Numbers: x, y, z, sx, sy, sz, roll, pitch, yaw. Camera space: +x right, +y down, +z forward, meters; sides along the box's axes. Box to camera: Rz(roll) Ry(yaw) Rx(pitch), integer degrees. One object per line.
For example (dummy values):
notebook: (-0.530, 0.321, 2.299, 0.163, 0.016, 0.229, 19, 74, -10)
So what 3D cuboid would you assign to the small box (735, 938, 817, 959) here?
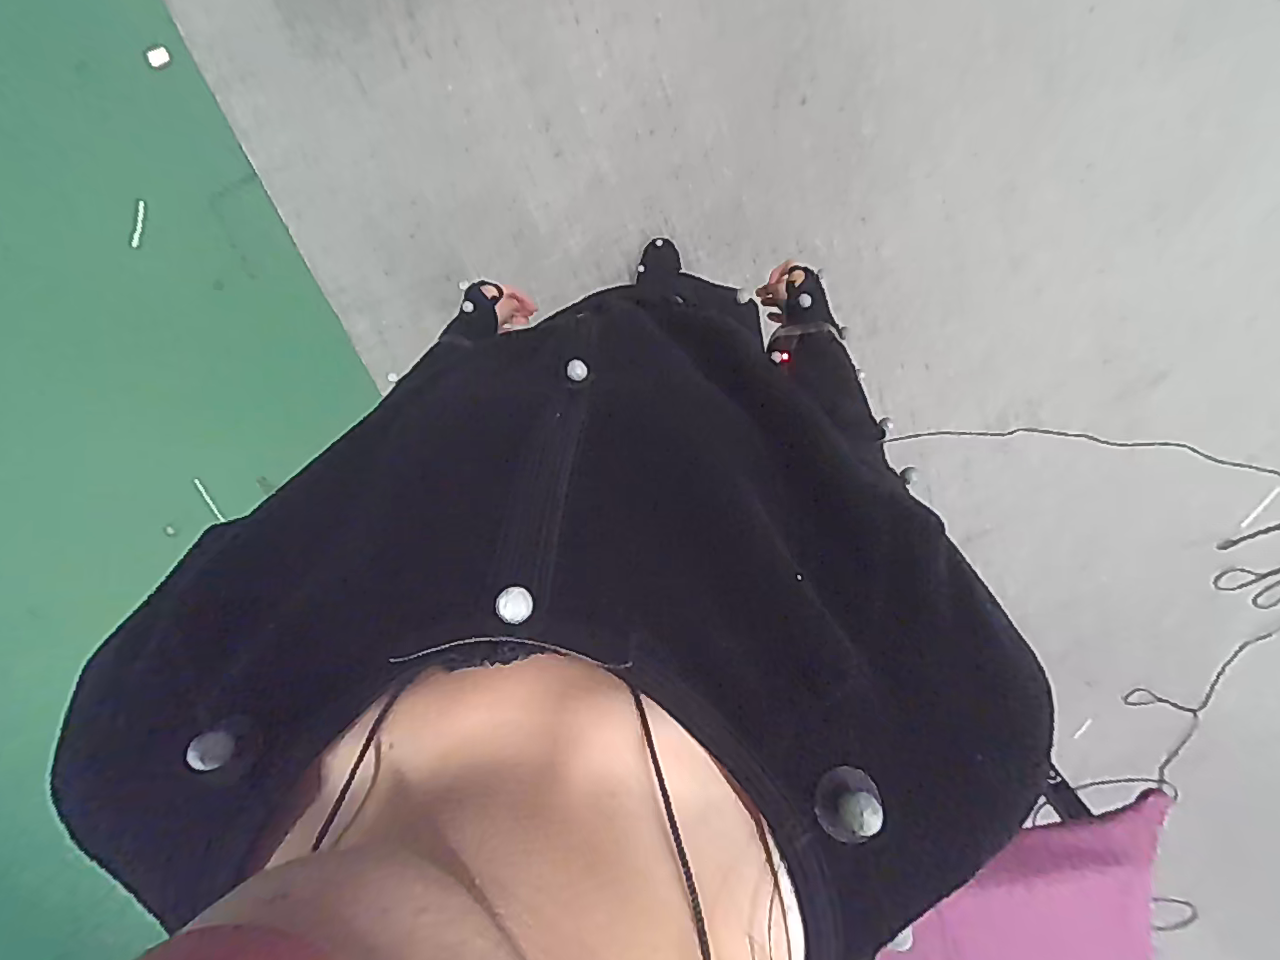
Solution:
small box: (0.309, 1.095, 1.109, 0.168, 0.176, 0.179, -24, 110, 10)
